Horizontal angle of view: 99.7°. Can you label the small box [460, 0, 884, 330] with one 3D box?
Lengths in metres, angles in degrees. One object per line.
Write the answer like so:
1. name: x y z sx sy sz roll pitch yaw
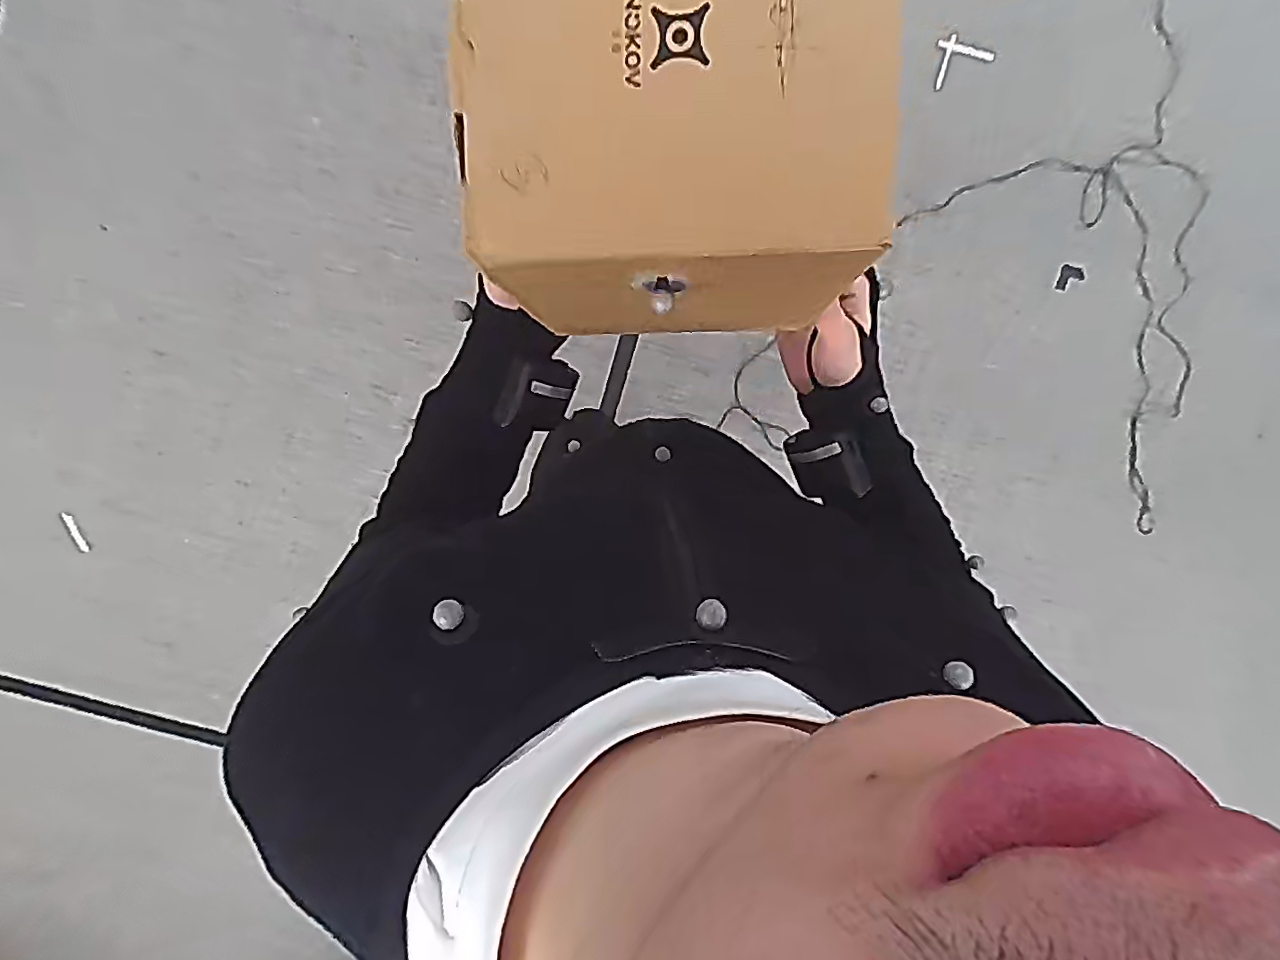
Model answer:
1. small box: 0.018 -0.183 0.303 0.179 0.176 0.168 -1 95 4
